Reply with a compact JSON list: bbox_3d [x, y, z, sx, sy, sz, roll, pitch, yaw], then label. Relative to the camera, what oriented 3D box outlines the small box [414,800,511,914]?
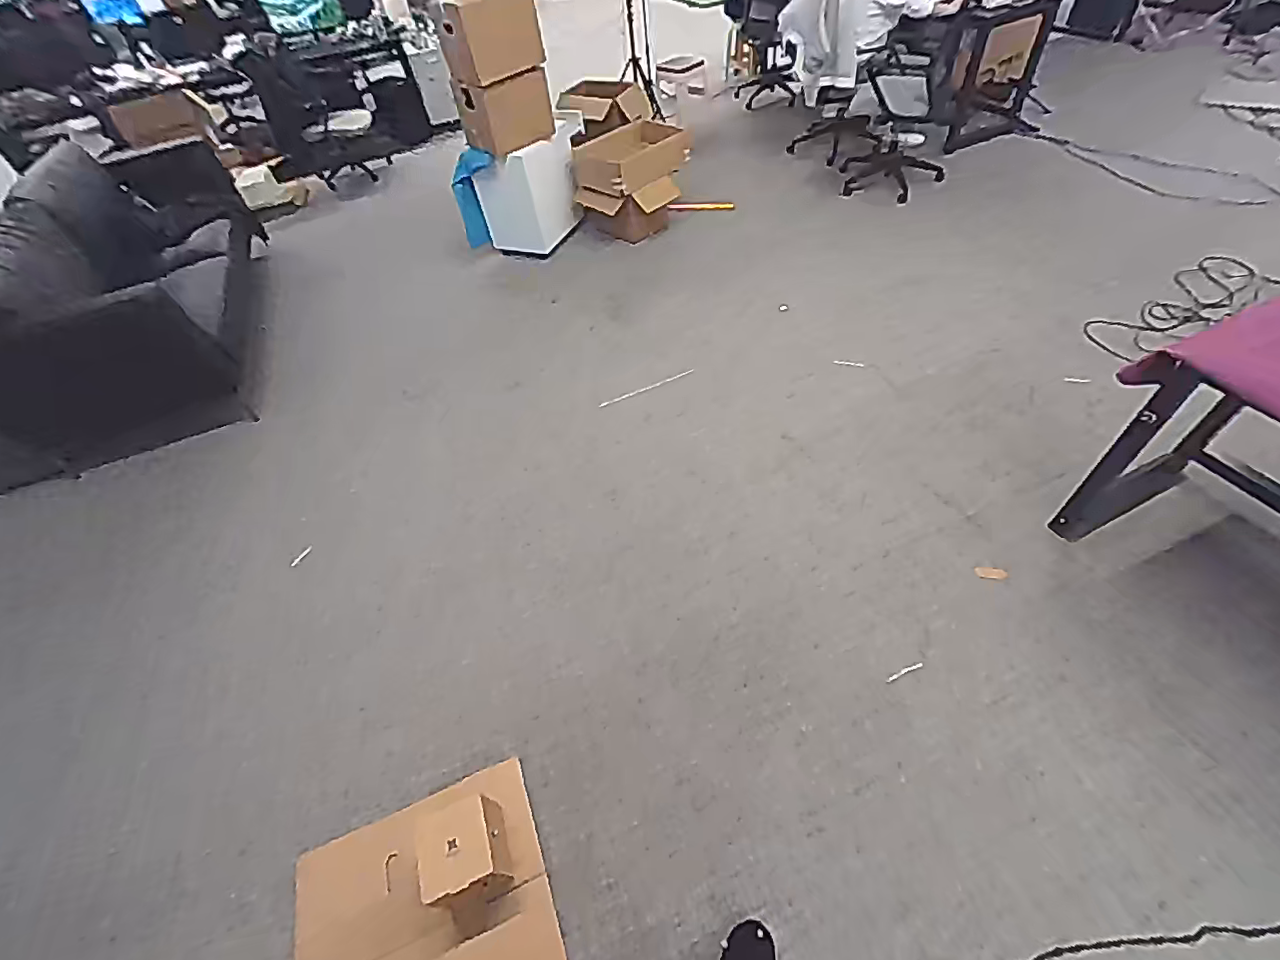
[{"bbox_3d":[-0.424,0.909,1.304,0.168,0.176,0.179,-20,50,-9],"label":"small box"}]
